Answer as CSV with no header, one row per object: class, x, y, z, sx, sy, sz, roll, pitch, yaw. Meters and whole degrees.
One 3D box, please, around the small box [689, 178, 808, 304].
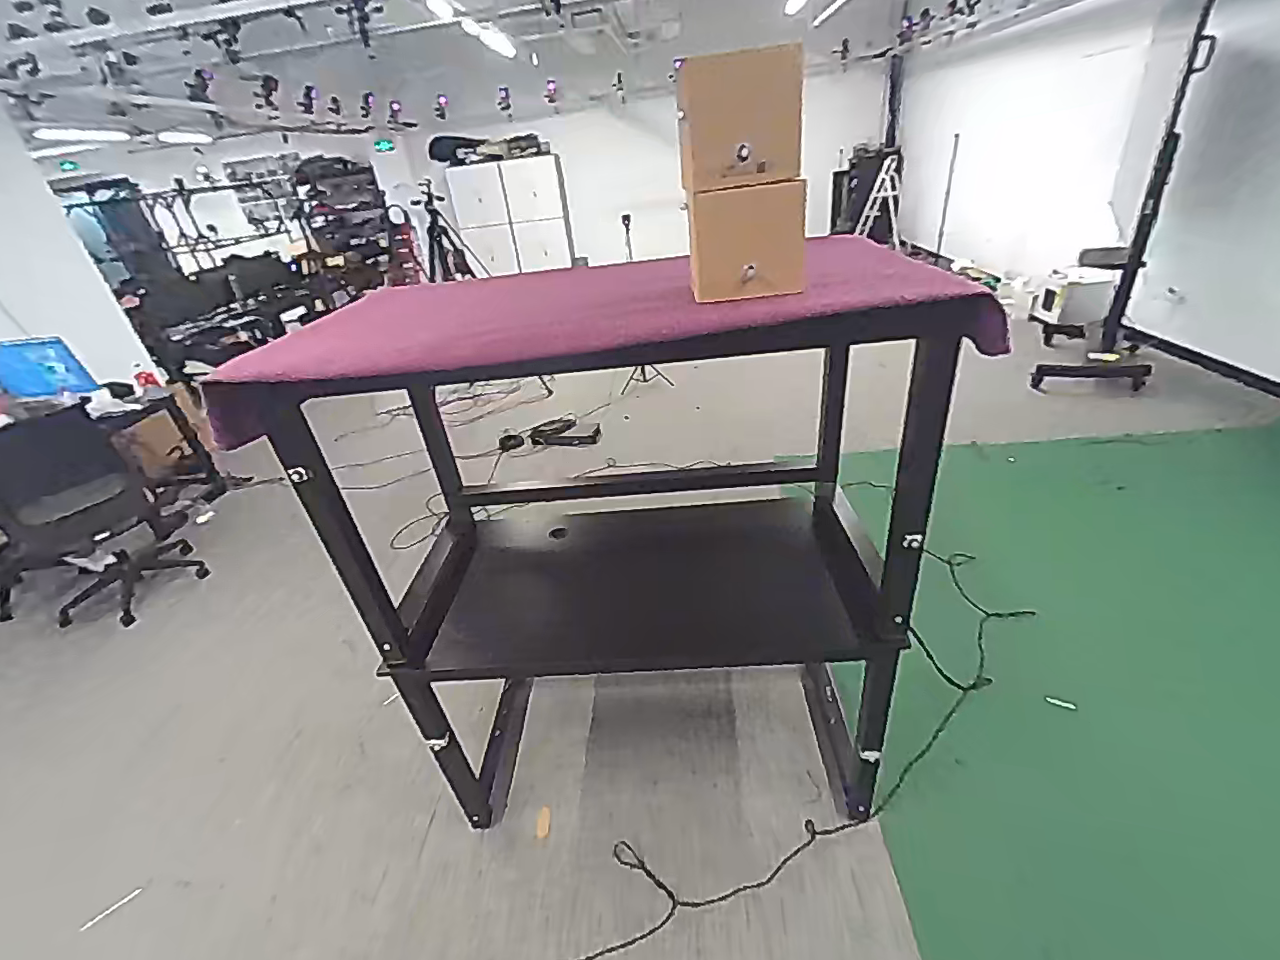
small box,0.176,-0.407,0.919,0.179,0.176,0.168,-5,29,5
